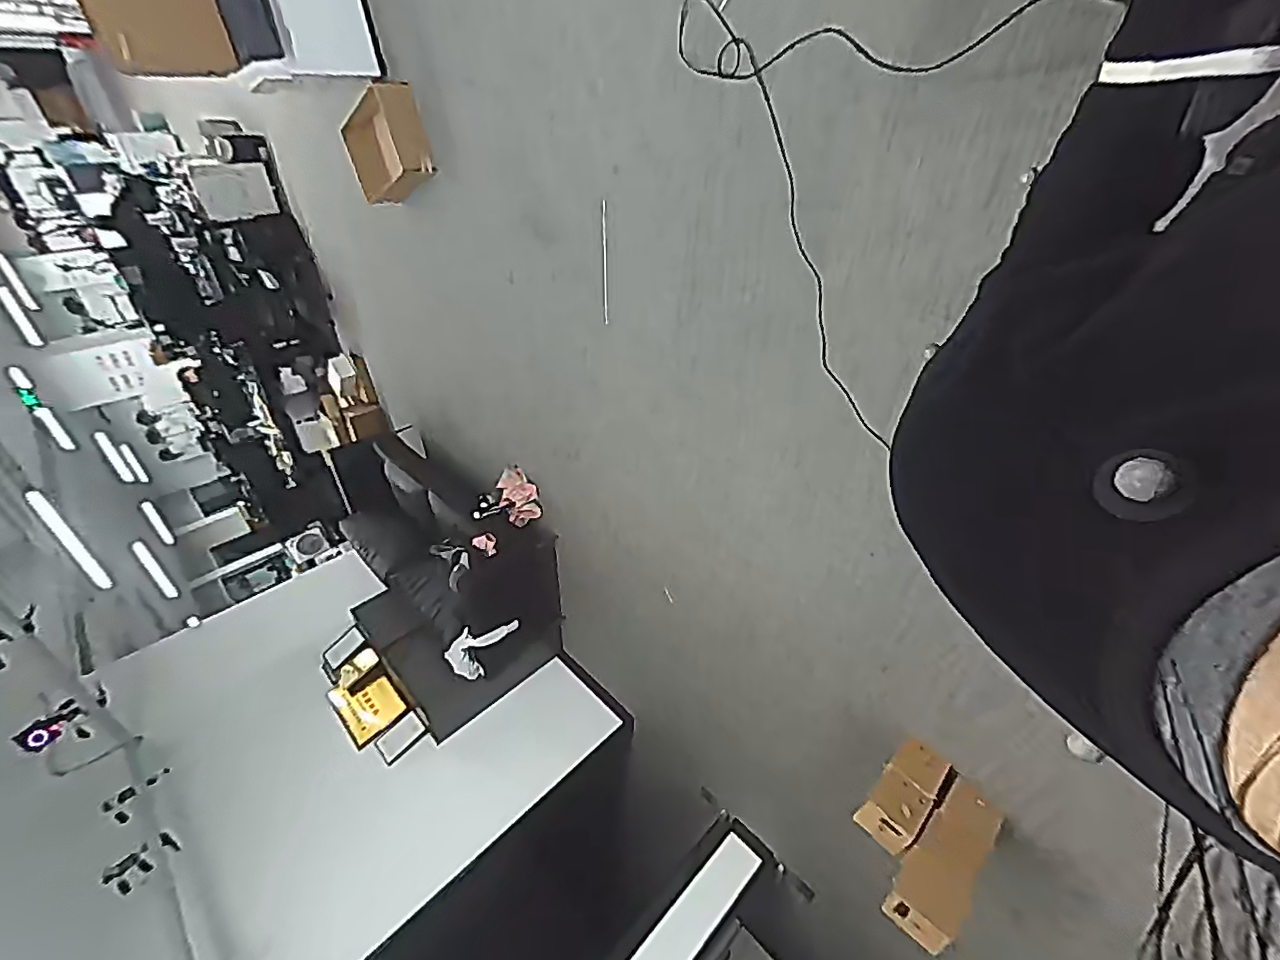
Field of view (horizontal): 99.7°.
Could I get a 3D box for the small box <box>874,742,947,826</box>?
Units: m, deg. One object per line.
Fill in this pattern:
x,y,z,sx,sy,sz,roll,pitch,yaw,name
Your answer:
1.003,1.120,1.998,0.168,0.176,0.179,32,134,34,small box
